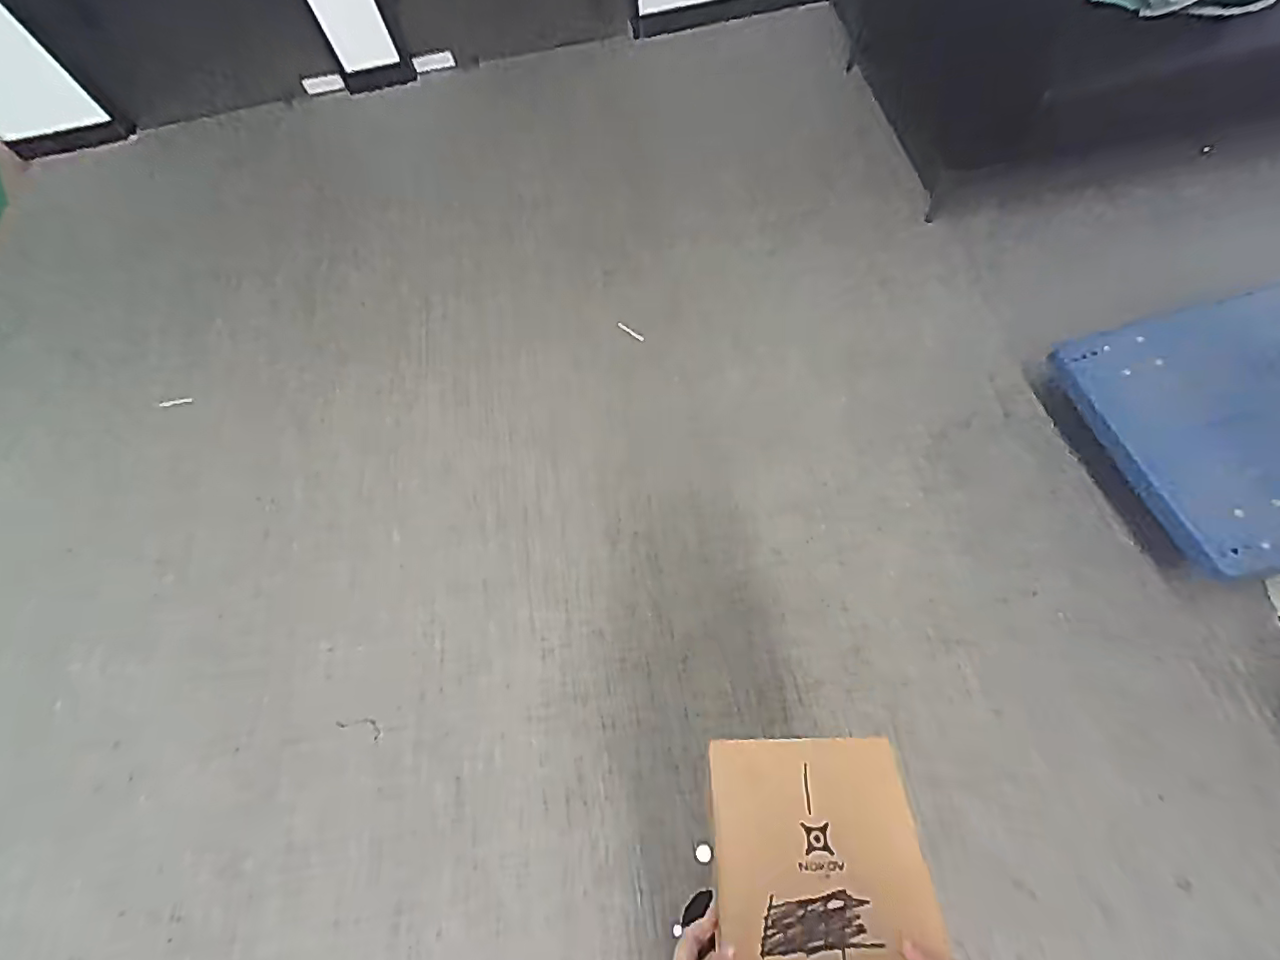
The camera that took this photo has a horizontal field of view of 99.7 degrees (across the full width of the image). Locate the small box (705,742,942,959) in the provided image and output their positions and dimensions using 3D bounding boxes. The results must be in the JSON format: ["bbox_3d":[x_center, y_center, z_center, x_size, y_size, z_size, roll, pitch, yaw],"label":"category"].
[{"bbox_3d":[0.148,0.361,0.501,0.168,0.176,0.179,-3,47,4],"label":"small box"}]
